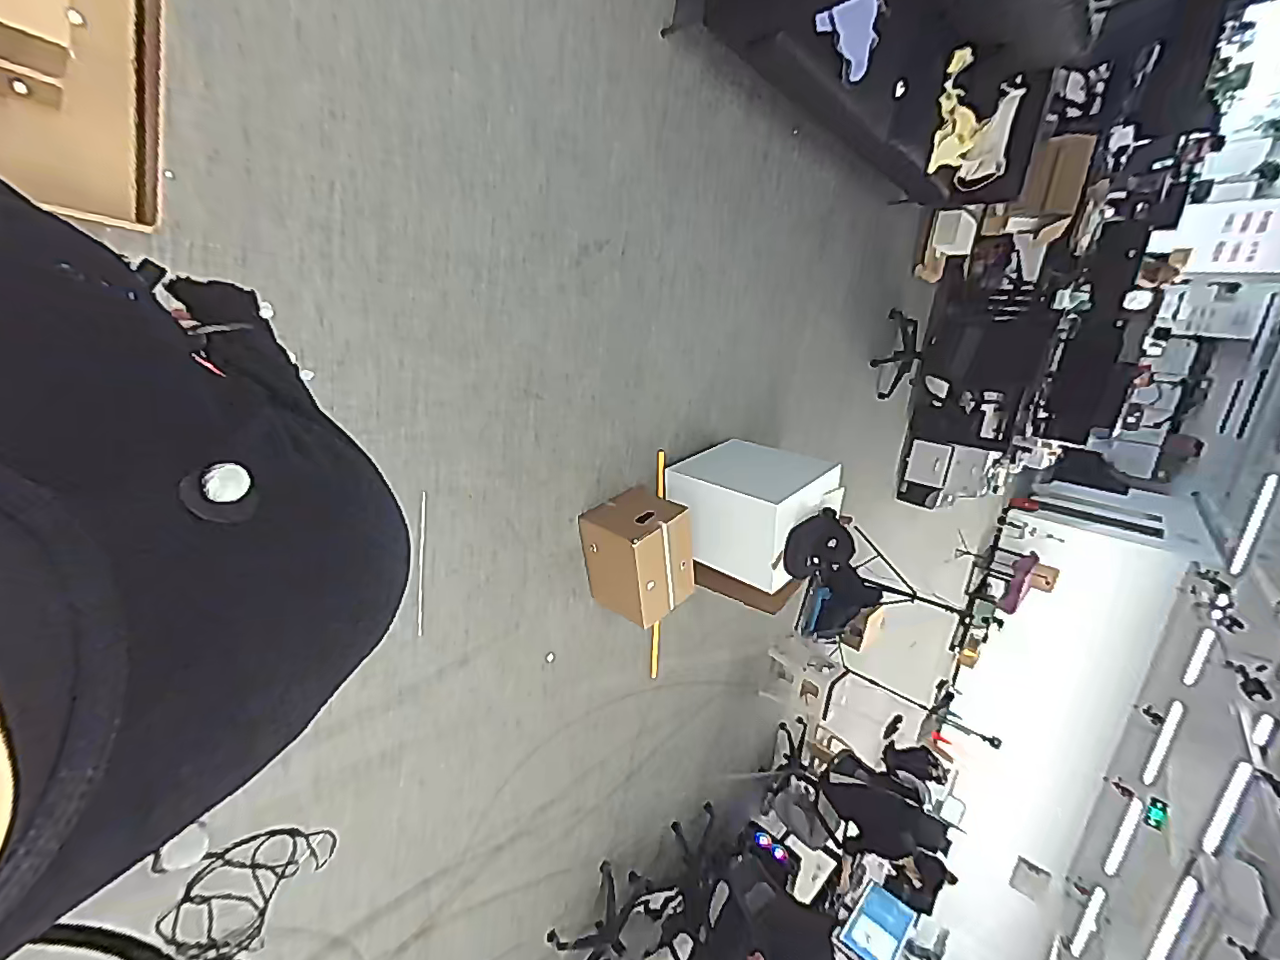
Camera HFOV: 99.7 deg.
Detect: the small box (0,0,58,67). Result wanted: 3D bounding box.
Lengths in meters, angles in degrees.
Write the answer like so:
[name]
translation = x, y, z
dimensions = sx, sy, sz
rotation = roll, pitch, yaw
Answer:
[small box]
translation = -0.852, -0.653, 0.664
dimensions = 0.179, 0.176, 0.168
rotation = -5, 106, -49
